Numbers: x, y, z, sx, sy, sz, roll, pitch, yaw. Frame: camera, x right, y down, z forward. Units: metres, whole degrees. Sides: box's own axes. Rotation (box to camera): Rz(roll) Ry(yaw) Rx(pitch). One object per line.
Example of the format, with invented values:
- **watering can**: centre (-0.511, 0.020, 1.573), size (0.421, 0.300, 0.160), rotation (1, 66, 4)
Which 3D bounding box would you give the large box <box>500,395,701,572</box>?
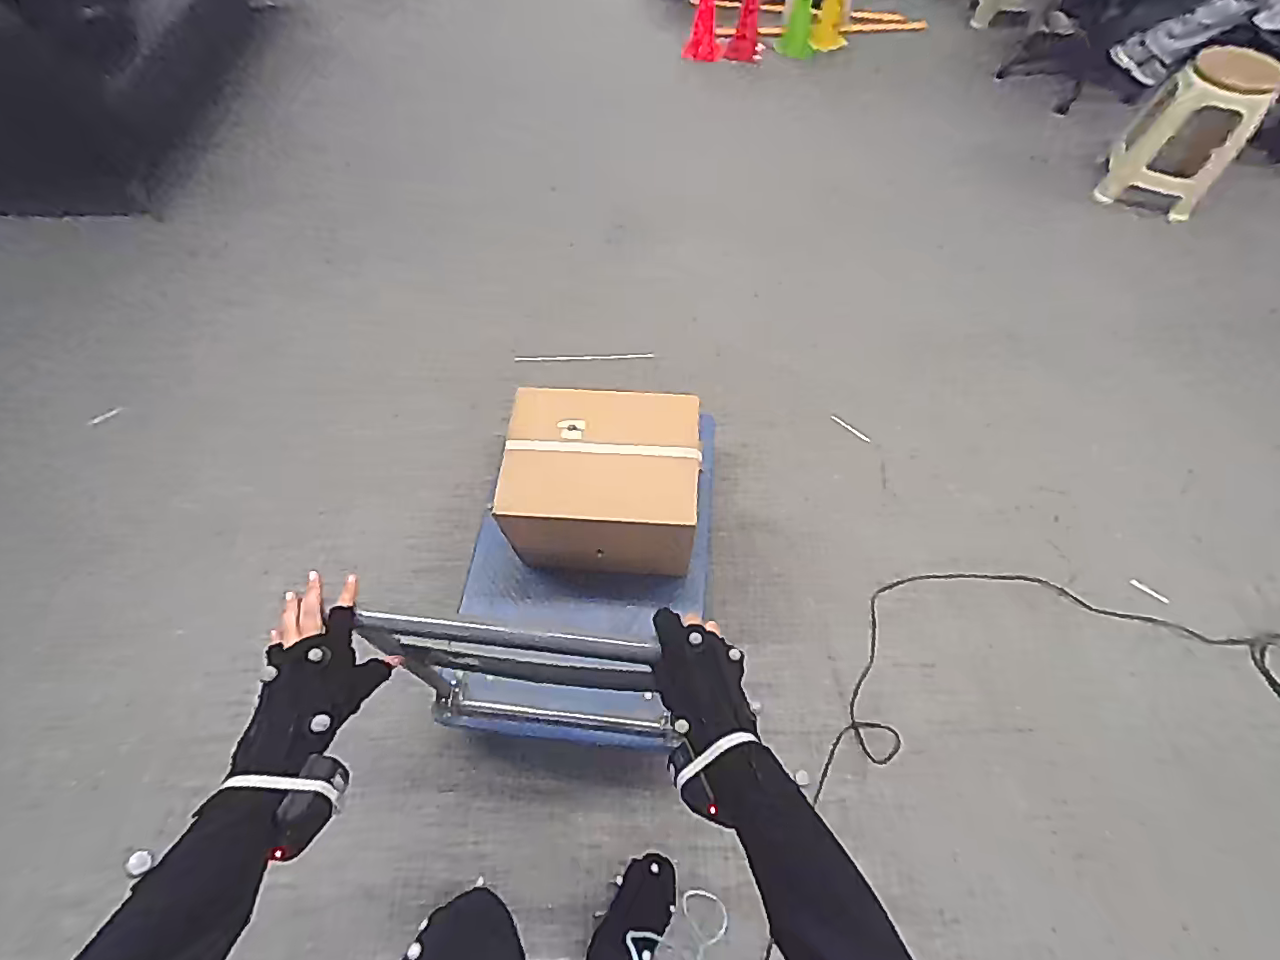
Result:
- **large box**: centre (-0.068, 0.018, 1.258), size (0.408, 0.320, 0.320), rotation (2, 61, 3)
